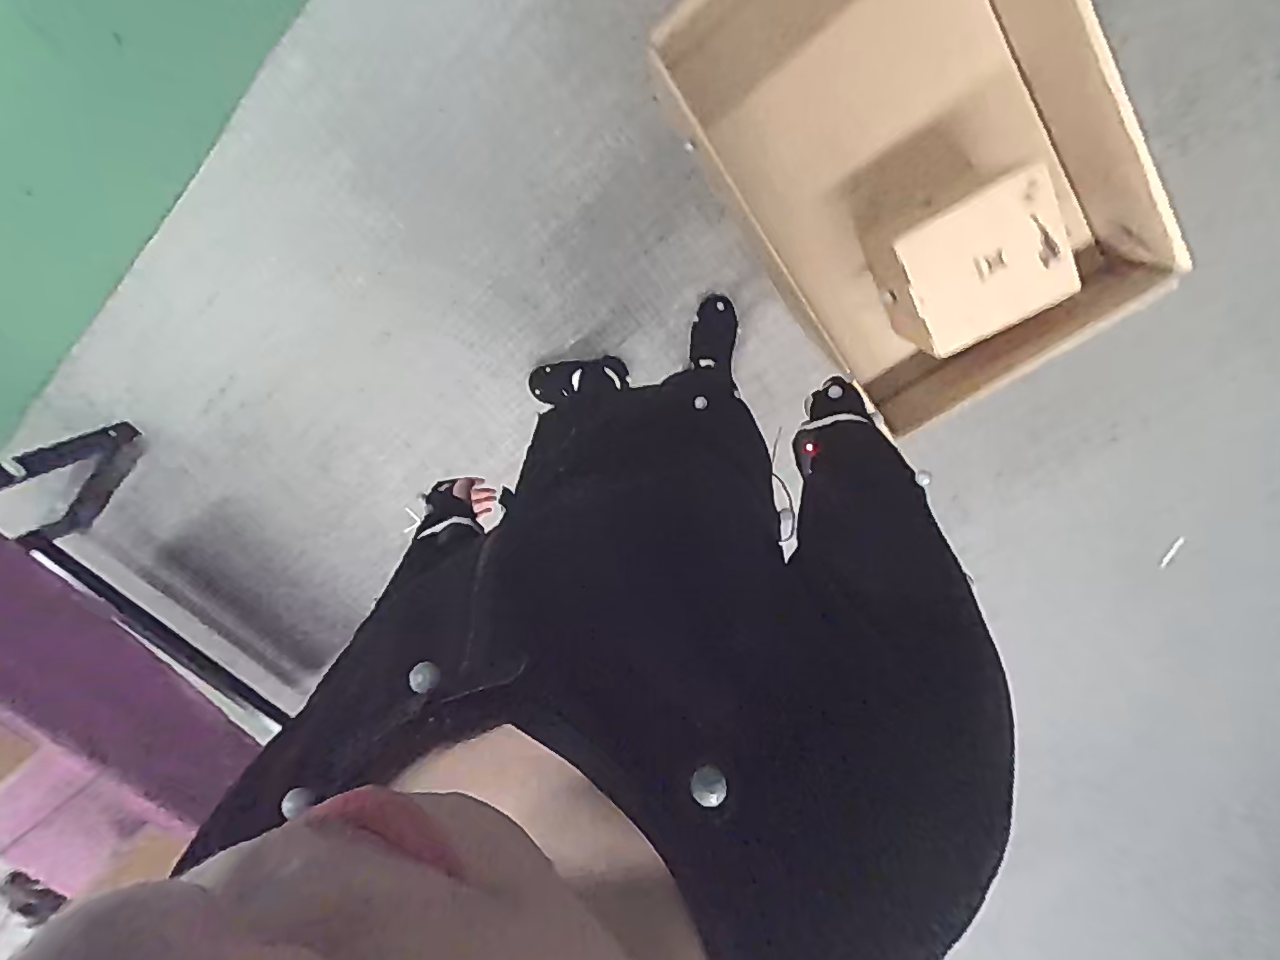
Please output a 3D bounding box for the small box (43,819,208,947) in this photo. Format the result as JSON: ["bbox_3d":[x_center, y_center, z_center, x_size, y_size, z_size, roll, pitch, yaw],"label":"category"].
[{"bbox_3d":[-1.115,0.891,1.187,0.168,0.176,0.179,-36,105,21],"label":"small box"}]

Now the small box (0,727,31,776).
[{"bbox_3d":[-1.395,0.572,1.069,0.168,0.176,0.179,-35,107,19],"label":"small box"}]

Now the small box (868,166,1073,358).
[{"bbox_3d":[0.433,-0.294,0.740,0.179,0.176,0.168,-25,110,17],"label":"small box"}]

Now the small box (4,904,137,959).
[{"bbox_3d":[-1.136,0.960,1.039,0.179,0.176,0.168,-36,105,22],"label":"small box"}]
